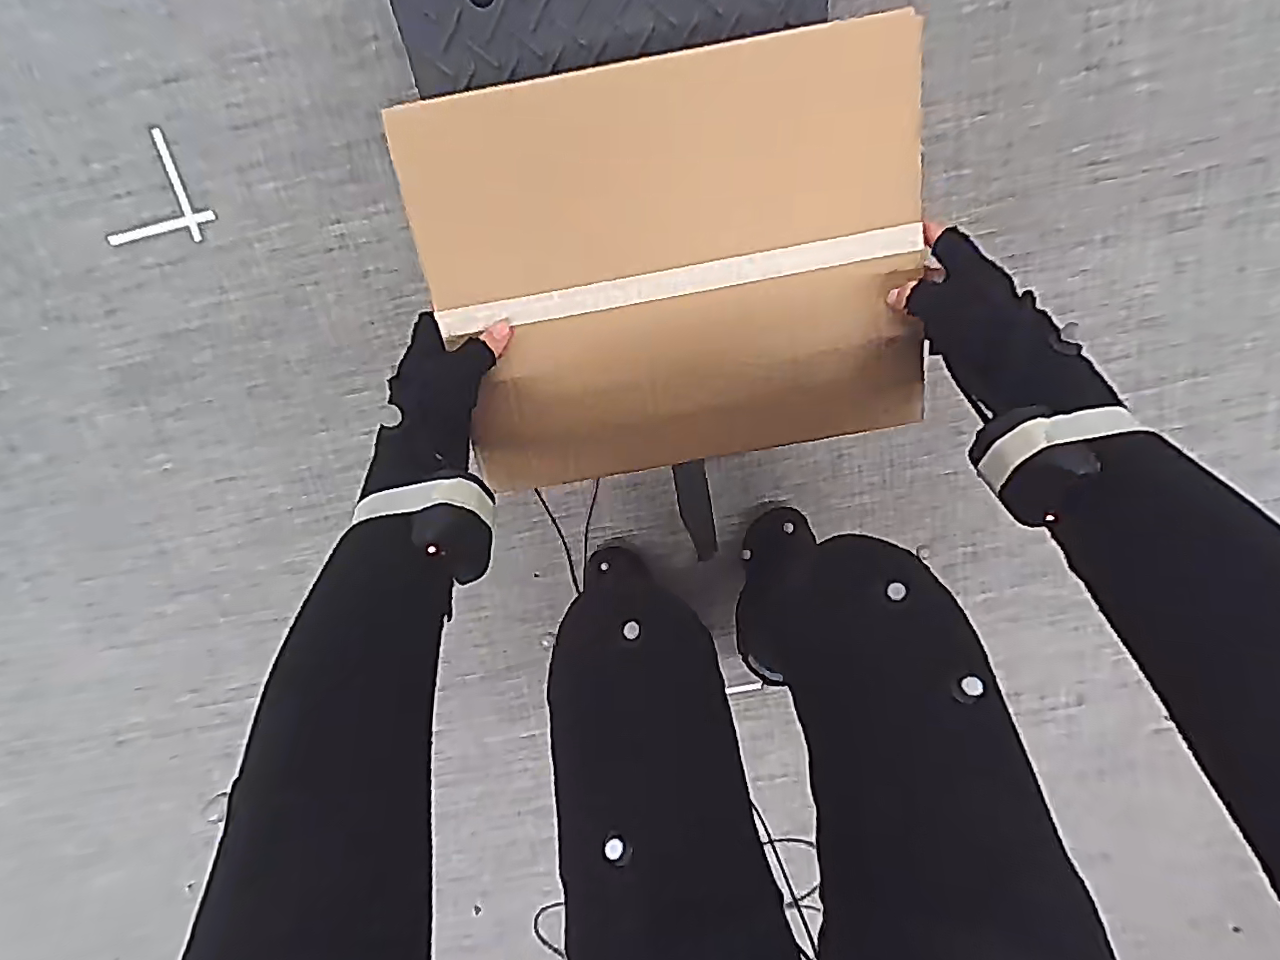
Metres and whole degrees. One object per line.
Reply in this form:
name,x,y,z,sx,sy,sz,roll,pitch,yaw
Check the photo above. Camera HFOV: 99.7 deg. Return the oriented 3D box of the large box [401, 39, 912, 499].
large box,0.030,-0.205,0.600,0.408,0.320,0.320,-9,107,1
